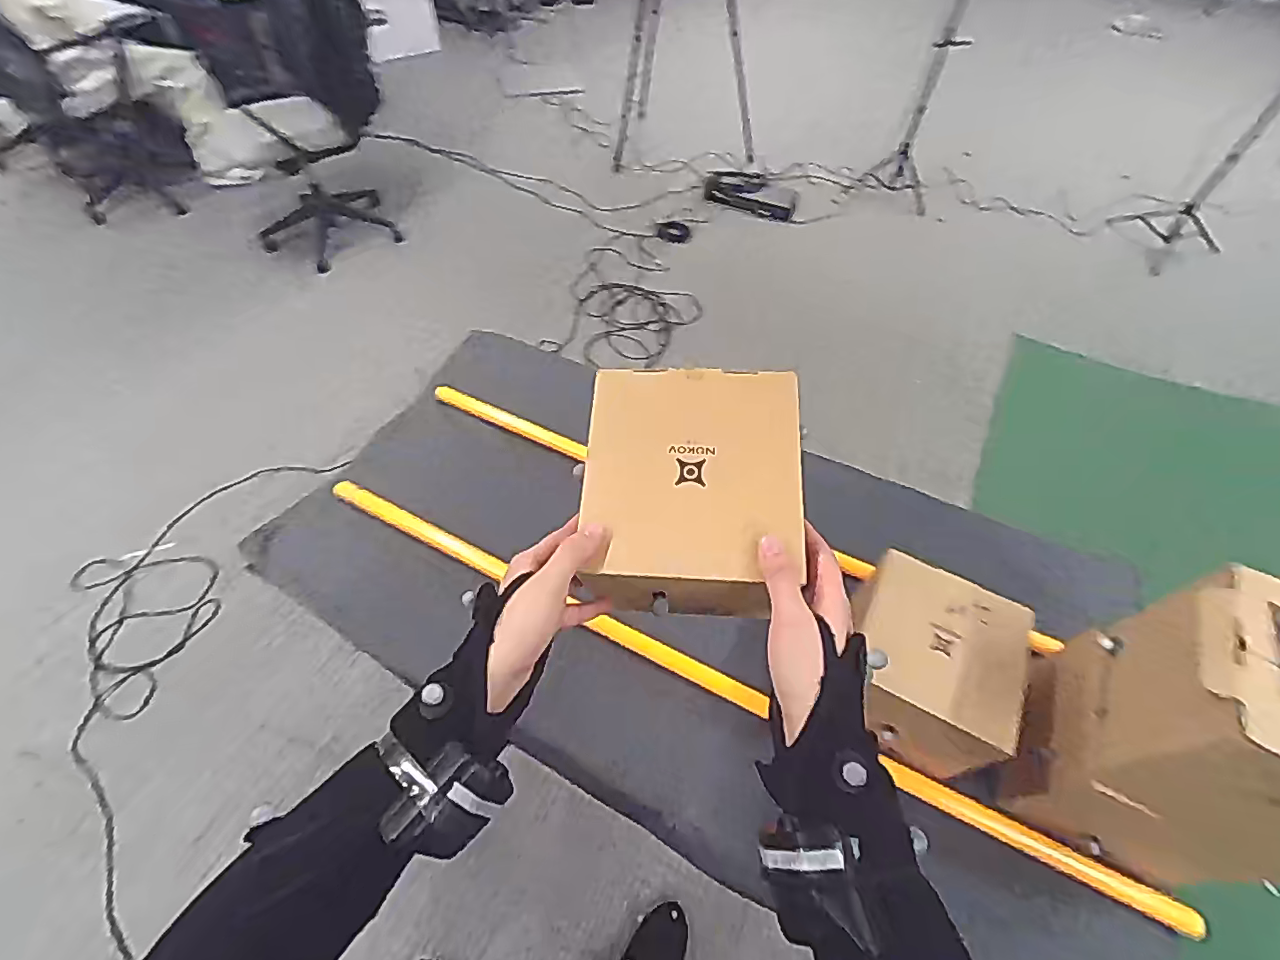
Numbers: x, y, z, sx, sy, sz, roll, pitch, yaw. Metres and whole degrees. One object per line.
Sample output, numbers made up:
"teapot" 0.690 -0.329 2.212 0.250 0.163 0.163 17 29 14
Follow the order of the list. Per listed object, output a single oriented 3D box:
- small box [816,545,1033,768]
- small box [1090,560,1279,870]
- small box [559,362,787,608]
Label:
"small box" 0.330 0.217 0.654 0.168 0.176 0.179 25 57 17
"small box" 0.535 0.206 0.460 0.179 0.176 0.168 27 59 18
"small box" 0.034 0.015 0.485 0.168 0.176 0.179 1 67 5
